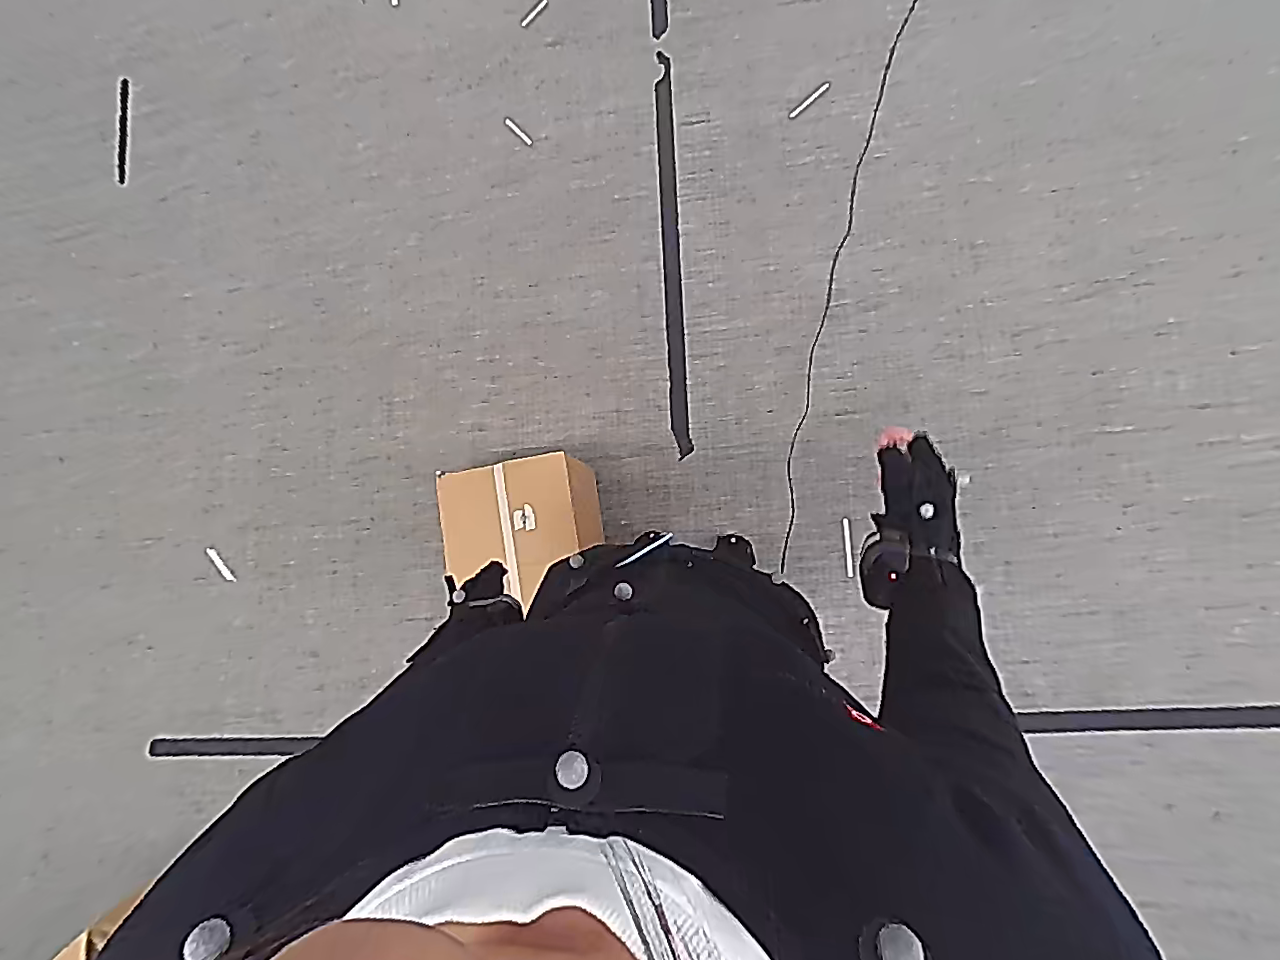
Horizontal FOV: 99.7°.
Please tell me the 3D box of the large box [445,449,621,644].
[{"bbox_3d":[-0.254,0.167,1.369,0.320,0.320,0.408,-10,81,6],"label":"large box"}]
